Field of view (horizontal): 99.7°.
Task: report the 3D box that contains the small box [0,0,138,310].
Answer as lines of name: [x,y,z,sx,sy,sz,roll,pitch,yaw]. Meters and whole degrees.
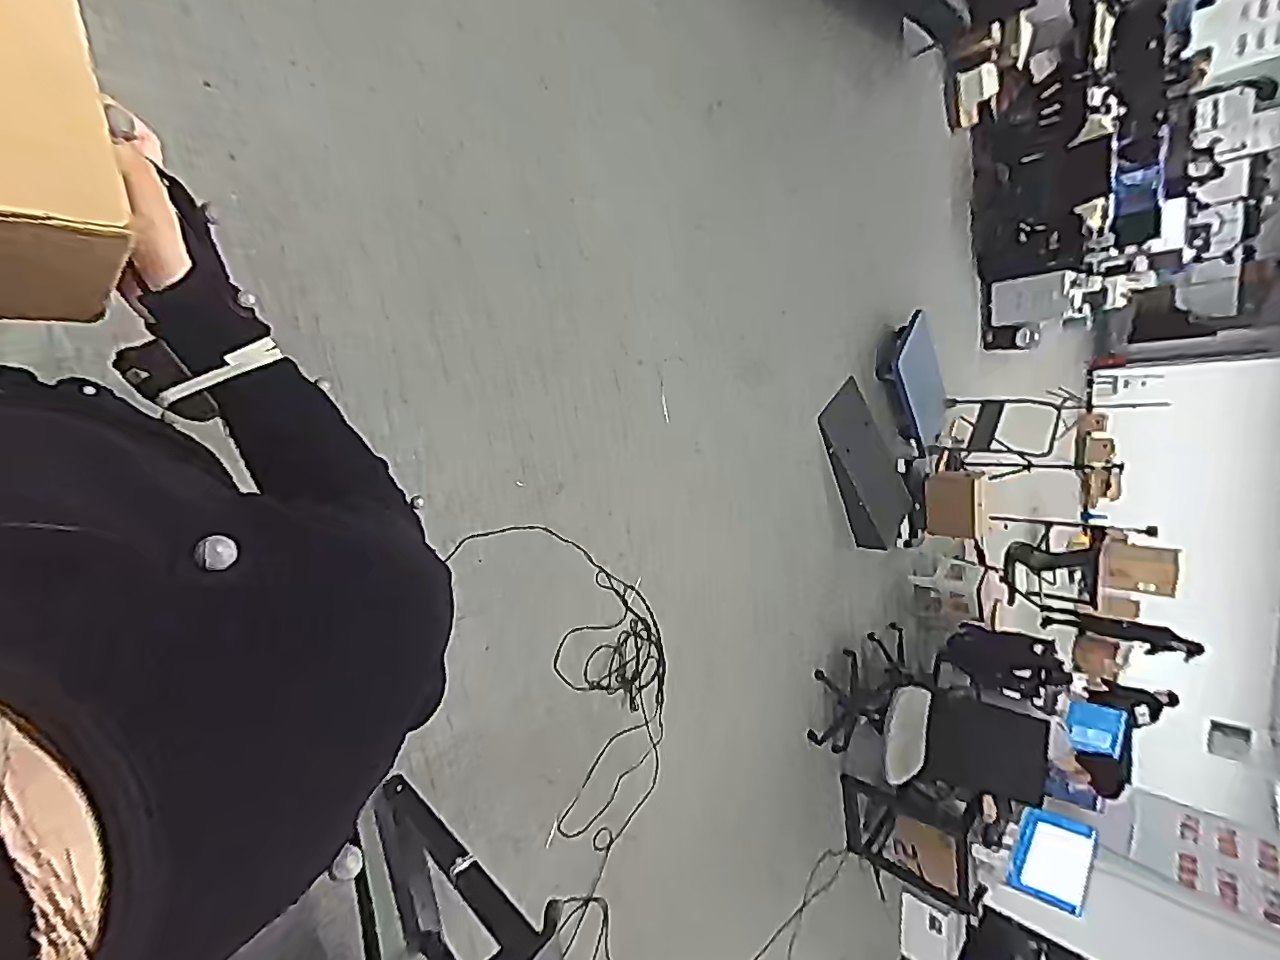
small box: [-0.388,-0.198,0.263,0.168,0.176,0.179,-17,99,-50]
